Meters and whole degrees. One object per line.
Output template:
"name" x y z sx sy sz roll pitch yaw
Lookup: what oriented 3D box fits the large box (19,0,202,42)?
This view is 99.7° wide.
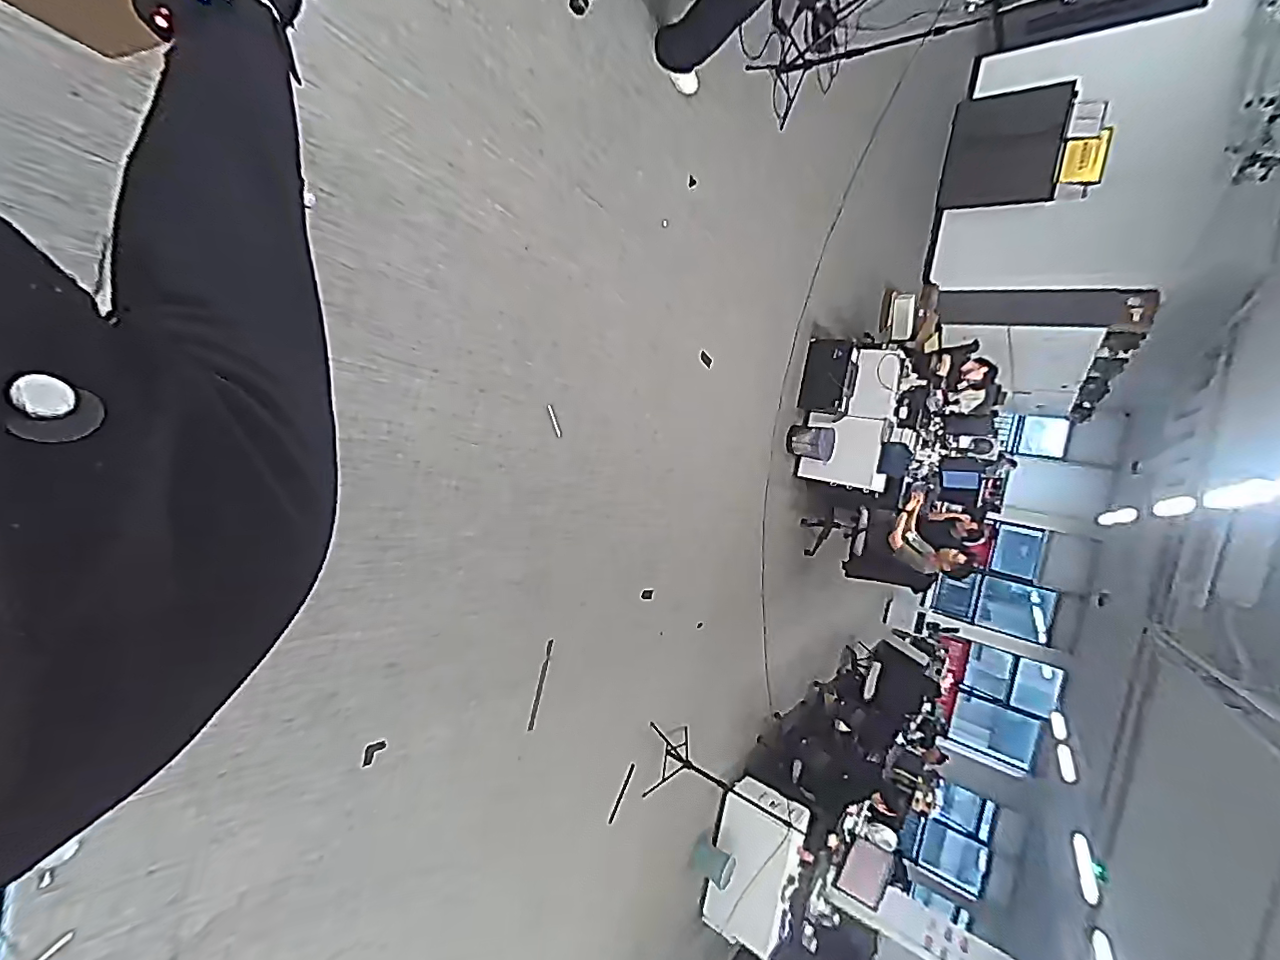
"large box" -0.532 -0.577 0.333 0.408 0.320 0.320 8 103 -57
